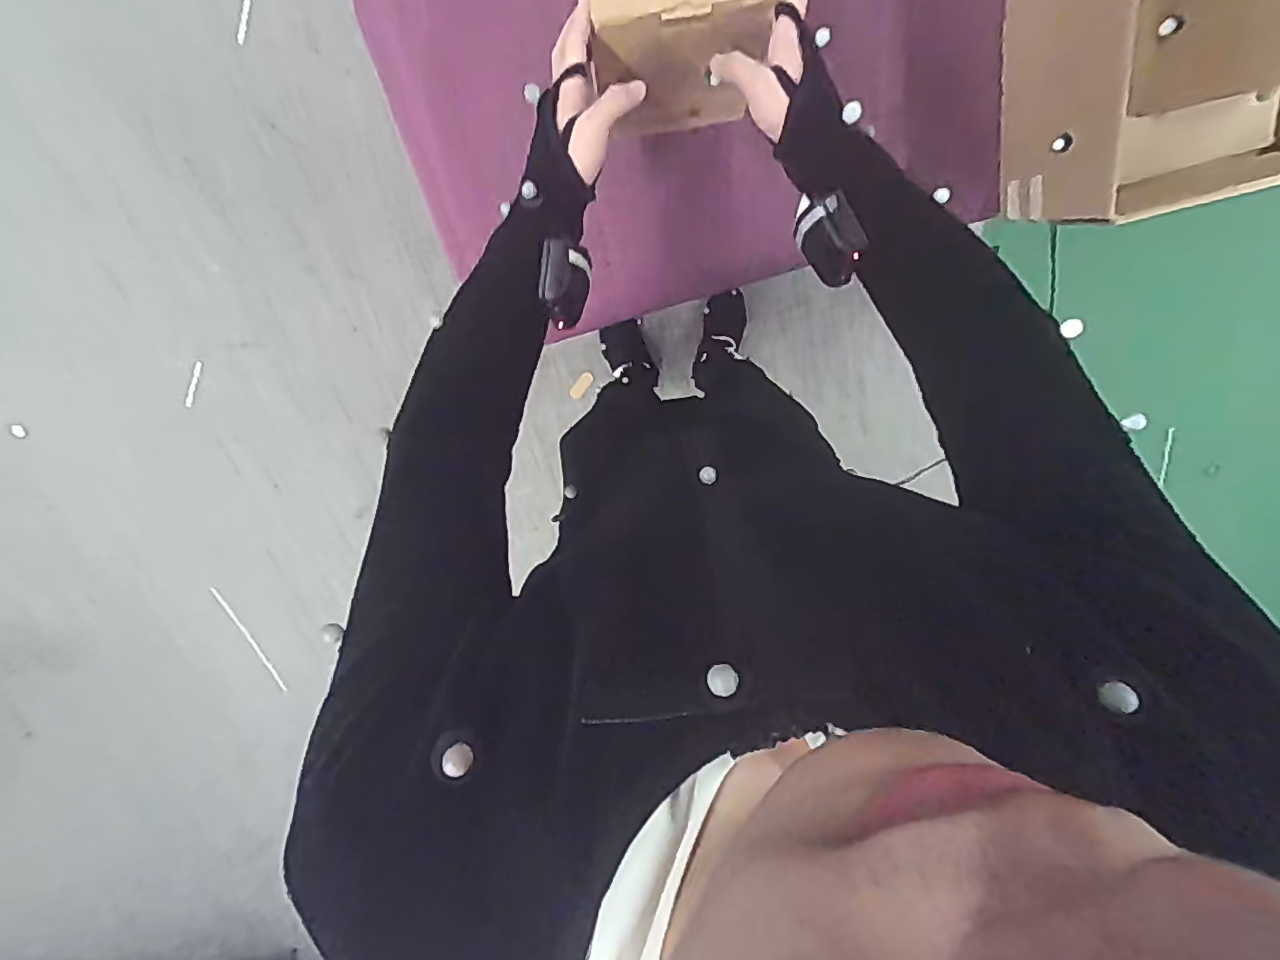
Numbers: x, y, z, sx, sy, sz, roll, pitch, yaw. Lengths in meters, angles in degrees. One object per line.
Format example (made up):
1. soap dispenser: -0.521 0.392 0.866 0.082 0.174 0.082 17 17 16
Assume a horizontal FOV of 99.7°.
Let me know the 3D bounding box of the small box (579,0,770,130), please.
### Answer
1. small box: 0.022 -0.484 0.540 0.168 0.176 0.179 -9 91 0
